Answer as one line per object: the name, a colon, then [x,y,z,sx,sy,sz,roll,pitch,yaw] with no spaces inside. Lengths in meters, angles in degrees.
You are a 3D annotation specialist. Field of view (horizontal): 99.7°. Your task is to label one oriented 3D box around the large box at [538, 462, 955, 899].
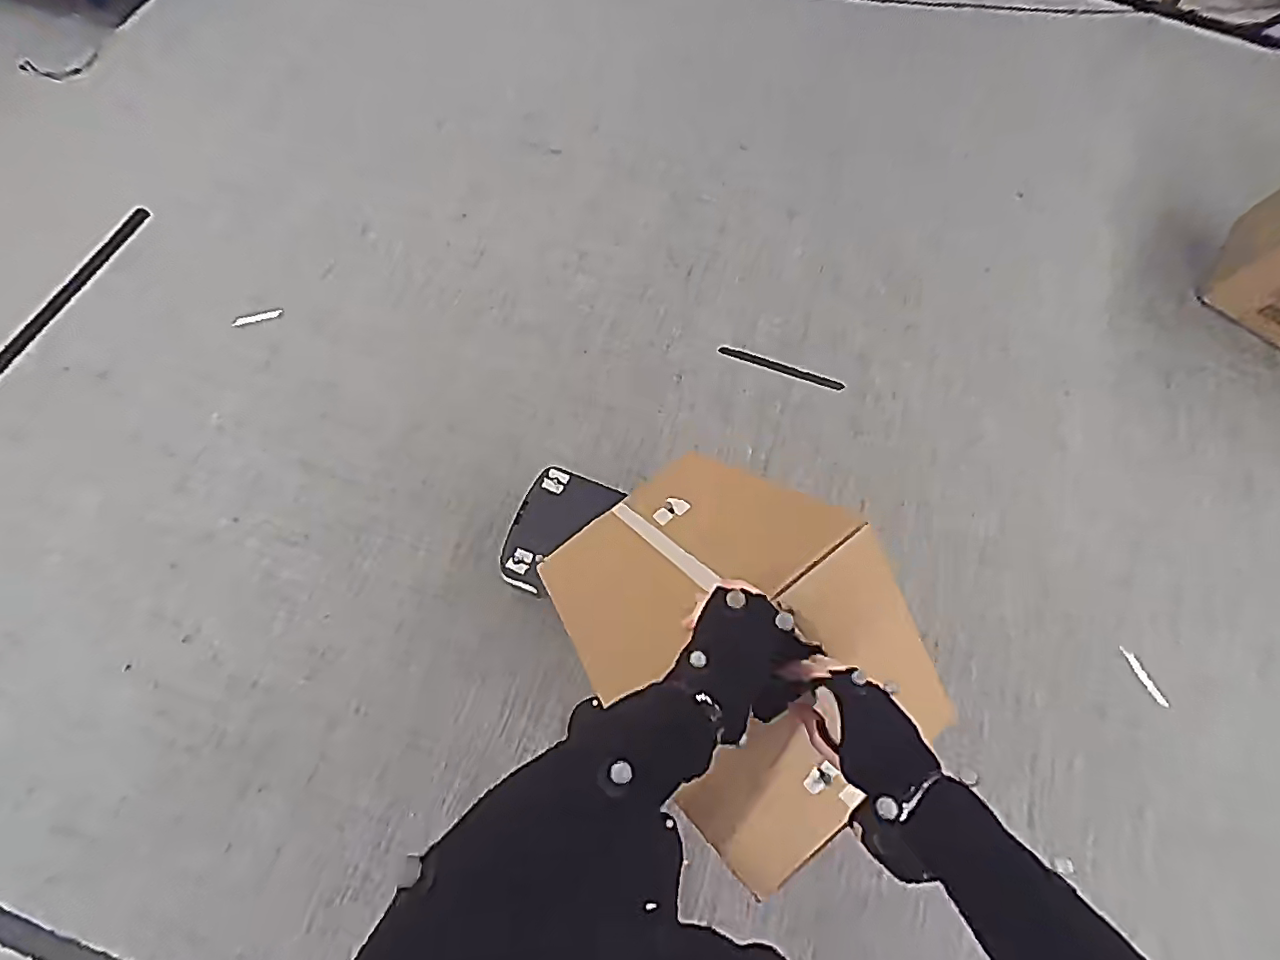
large box: [0.110,0.212,0.727,0.320,0.408,0.320,-36,111,-11]
